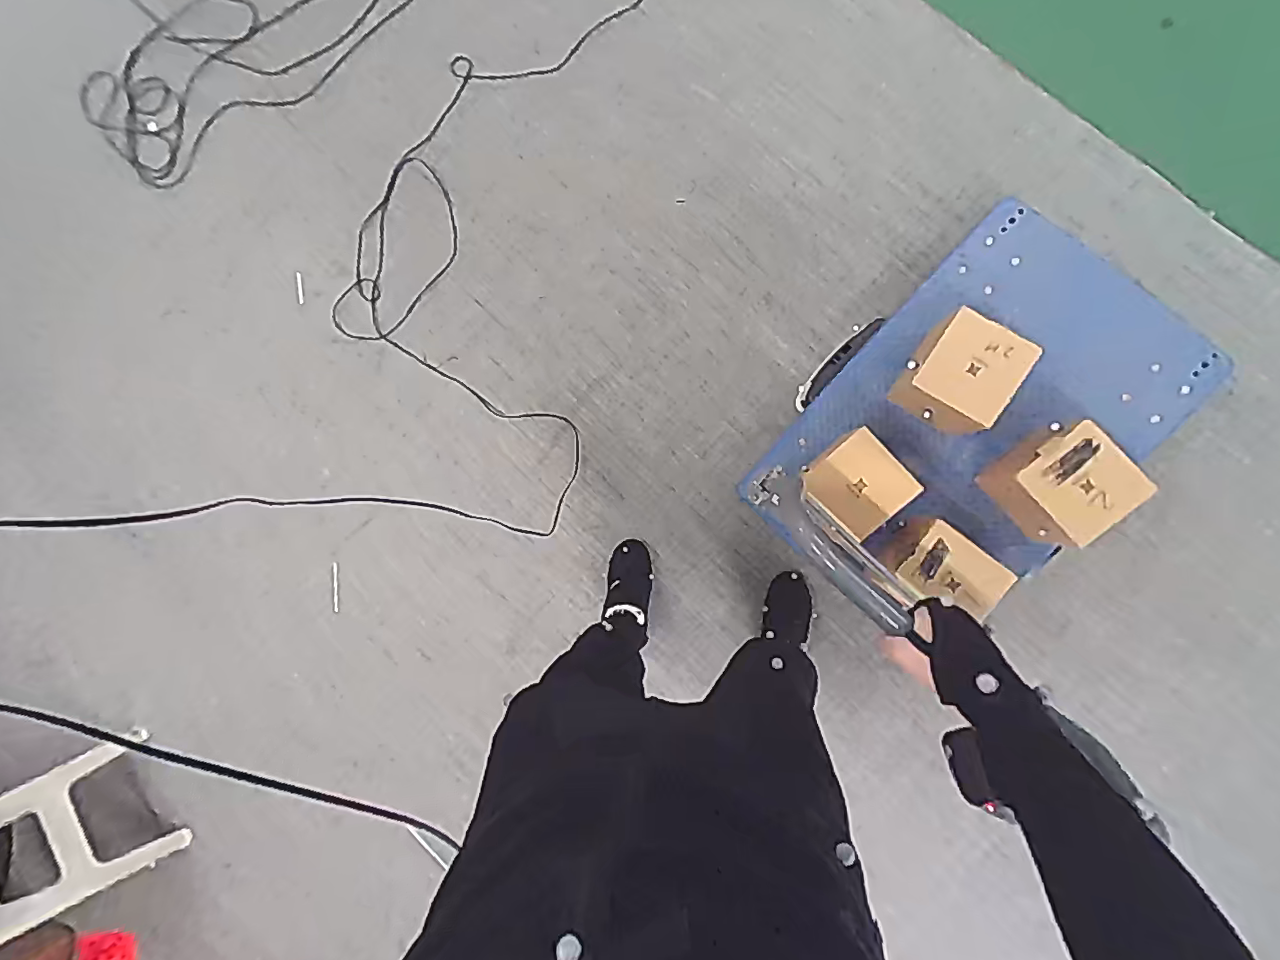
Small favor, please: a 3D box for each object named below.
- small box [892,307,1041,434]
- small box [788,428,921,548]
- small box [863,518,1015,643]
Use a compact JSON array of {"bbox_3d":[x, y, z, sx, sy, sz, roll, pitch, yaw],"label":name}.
[{"bbox_3d":[0.634,-0.207,1.083,0.168,0.176,0.179,34,94,7],"label":"small box"},{"bbox_3d":[0.426,0.015,1.112,0.179,0.176,0.168,-41,84,6],"label":"small box"},{"bbox_3d":[0.582,0.190,1.082,0.179,0.176,0.168,40,95,6],"label":"small box"}]
